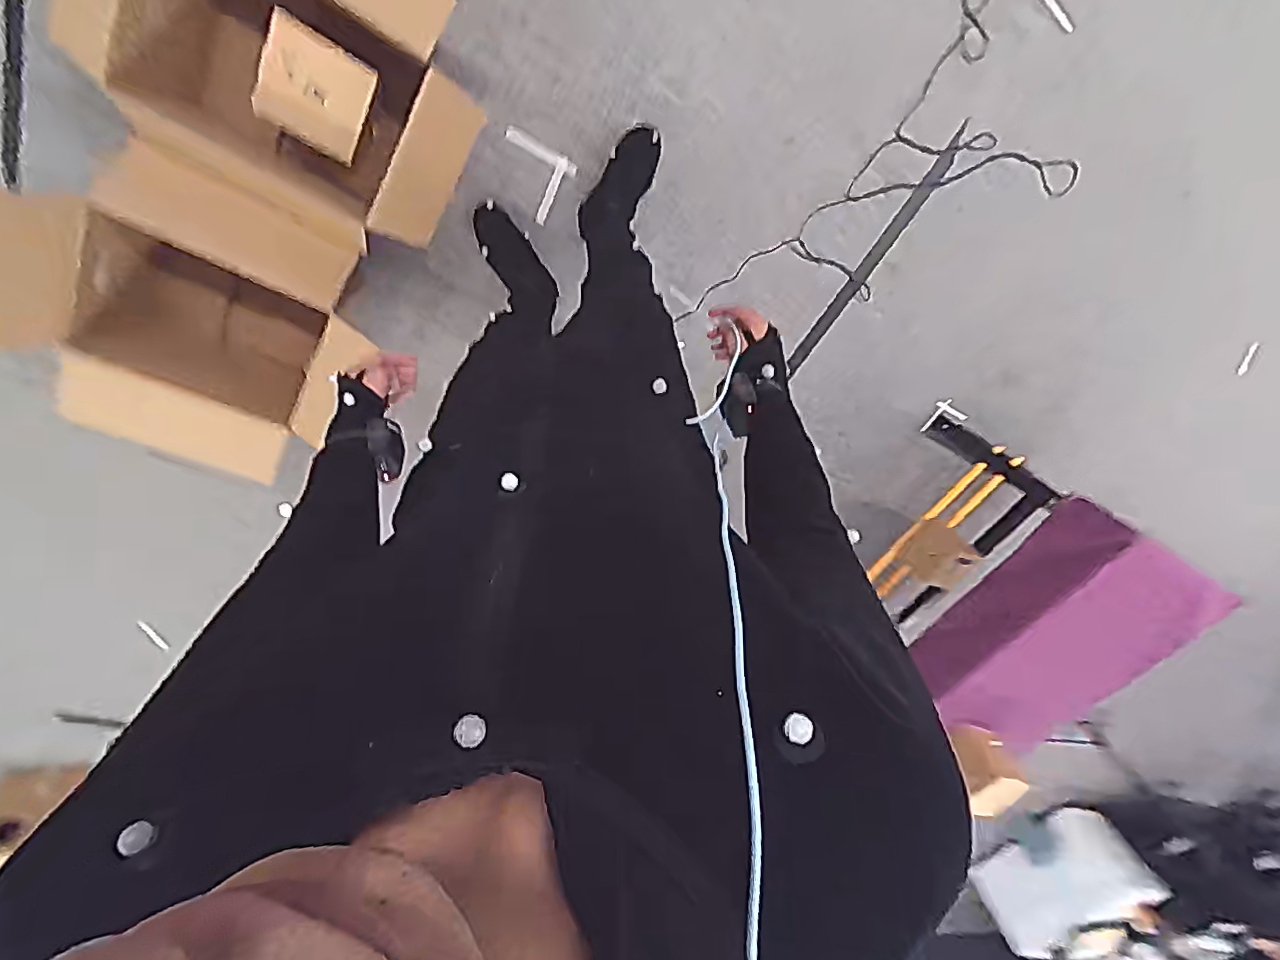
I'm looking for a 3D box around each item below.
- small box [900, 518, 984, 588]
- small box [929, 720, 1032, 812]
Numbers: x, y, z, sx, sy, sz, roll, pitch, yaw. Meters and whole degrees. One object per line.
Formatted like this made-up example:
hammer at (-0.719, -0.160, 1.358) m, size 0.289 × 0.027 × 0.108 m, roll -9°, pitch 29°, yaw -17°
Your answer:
small box at (1.109, 0.266, 2.000) m, size 0.168 × 0.176 × 0.179 m, roll 19°, pitch 119°, yaw -24°
small box at (1.005, 0.855, 1.618) m, size 0.168 × 0.176 × 0.179 m, roll 25°, pitch 114°, yaw -25°
